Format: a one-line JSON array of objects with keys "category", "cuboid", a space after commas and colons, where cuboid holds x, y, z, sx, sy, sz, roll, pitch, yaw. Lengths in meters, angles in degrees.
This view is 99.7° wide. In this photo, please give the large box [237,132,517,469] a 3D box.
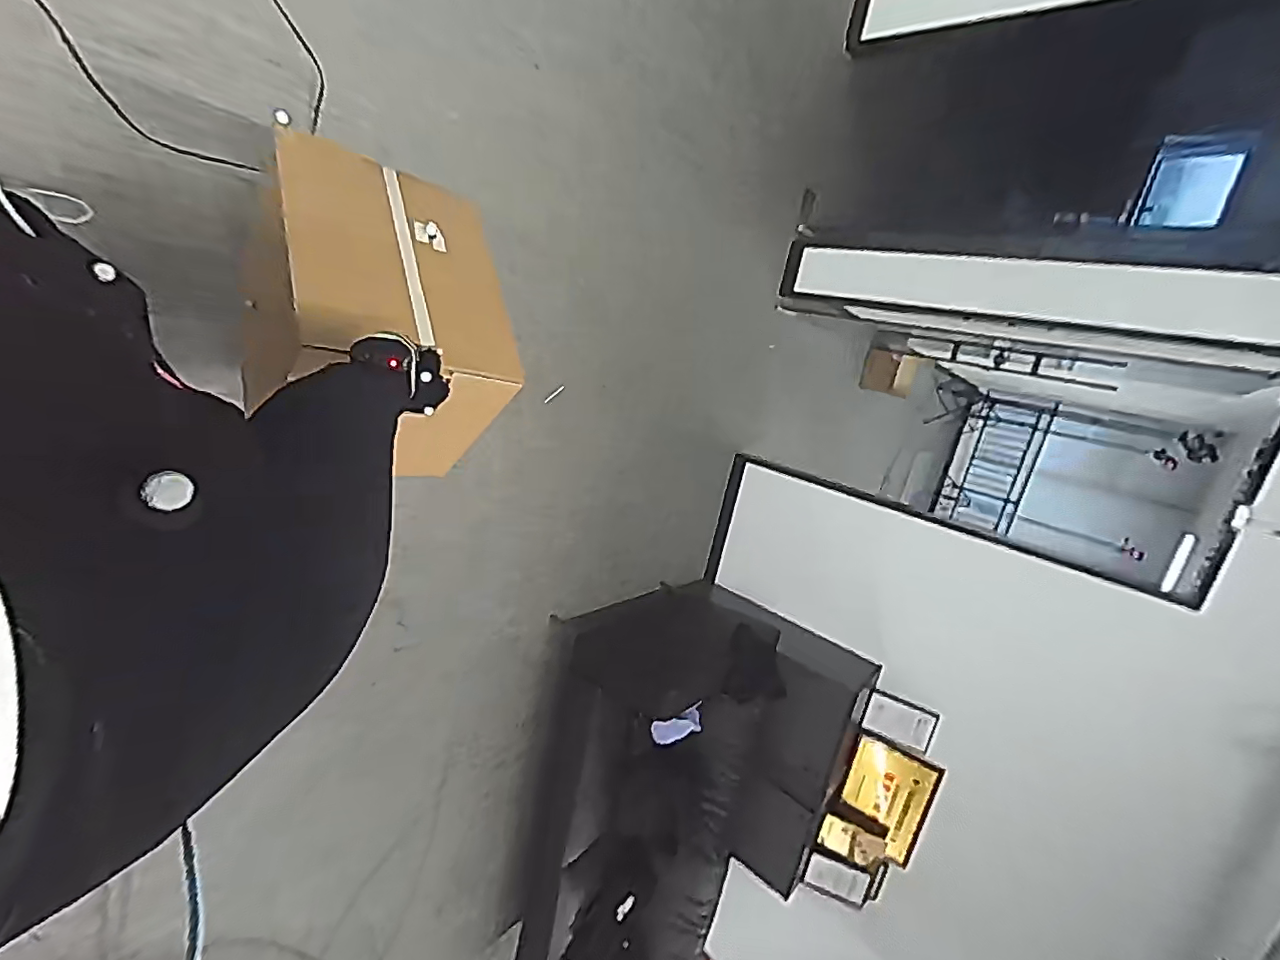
[{"category": "large box", "cuboid": [-0.462, -0.262, 0.919, 0.320, 0.408, 0.320, 3, 149, -46]}]
